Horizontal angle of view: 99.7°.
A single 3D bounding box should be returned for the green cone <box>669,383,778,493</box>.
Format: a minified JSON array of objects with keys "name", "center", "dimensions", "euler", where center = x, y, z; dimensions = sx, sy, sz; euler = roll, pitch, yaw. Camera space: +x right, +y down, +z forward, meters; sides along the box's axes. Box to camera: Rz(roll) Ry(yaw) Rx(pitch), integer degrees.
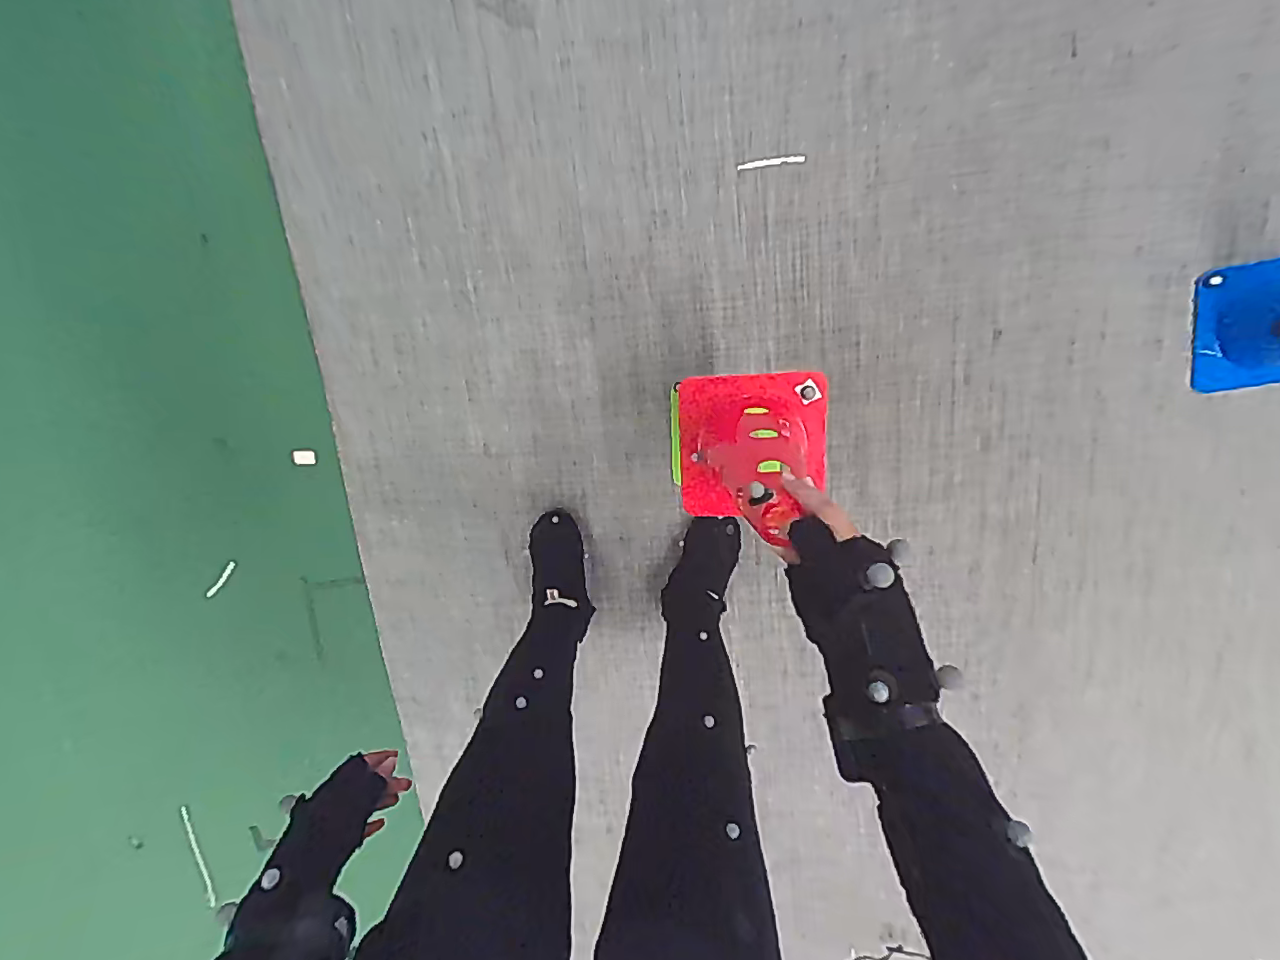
[{"name":"green cone","center":[0.143,-0.039,0.846],"dimensions":[0.202,0.368,0.200],"euler":[-1,103,5]}]
